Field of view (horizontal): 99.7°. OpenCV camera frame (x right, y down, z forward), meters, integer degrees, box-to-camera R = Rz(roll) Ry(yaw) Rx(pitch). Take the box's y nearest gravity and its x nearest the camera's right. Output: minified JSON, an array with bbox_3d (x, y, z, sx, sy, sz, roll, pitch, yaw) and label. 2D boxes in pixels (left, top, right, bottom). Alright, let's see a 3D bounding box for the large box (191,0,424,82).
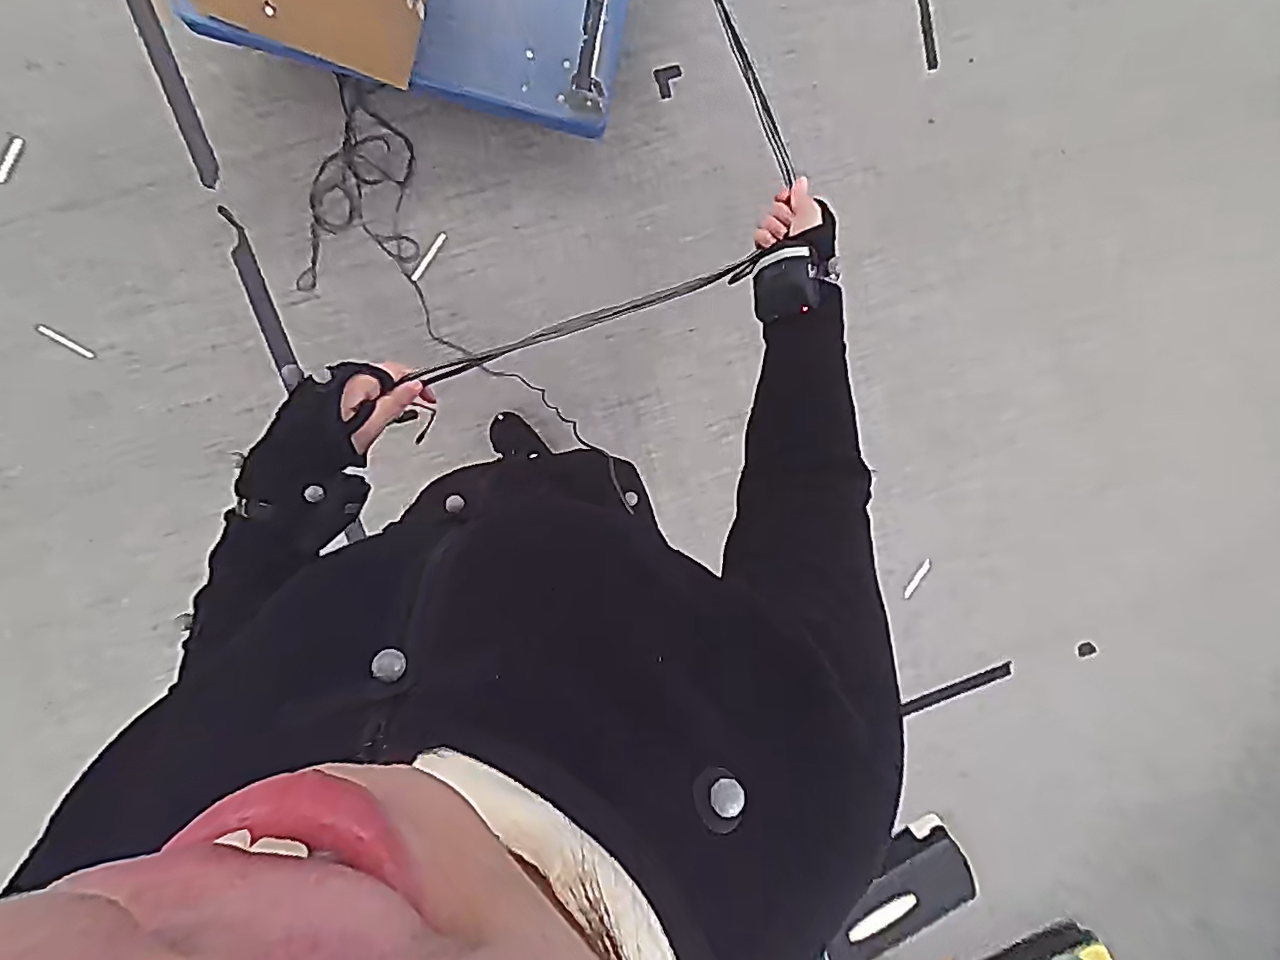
[{"bbox_3d":[-0.612,-0.988,0.930,0.408,0.320,0.320,15,96,-10],"label":"large box"}]
